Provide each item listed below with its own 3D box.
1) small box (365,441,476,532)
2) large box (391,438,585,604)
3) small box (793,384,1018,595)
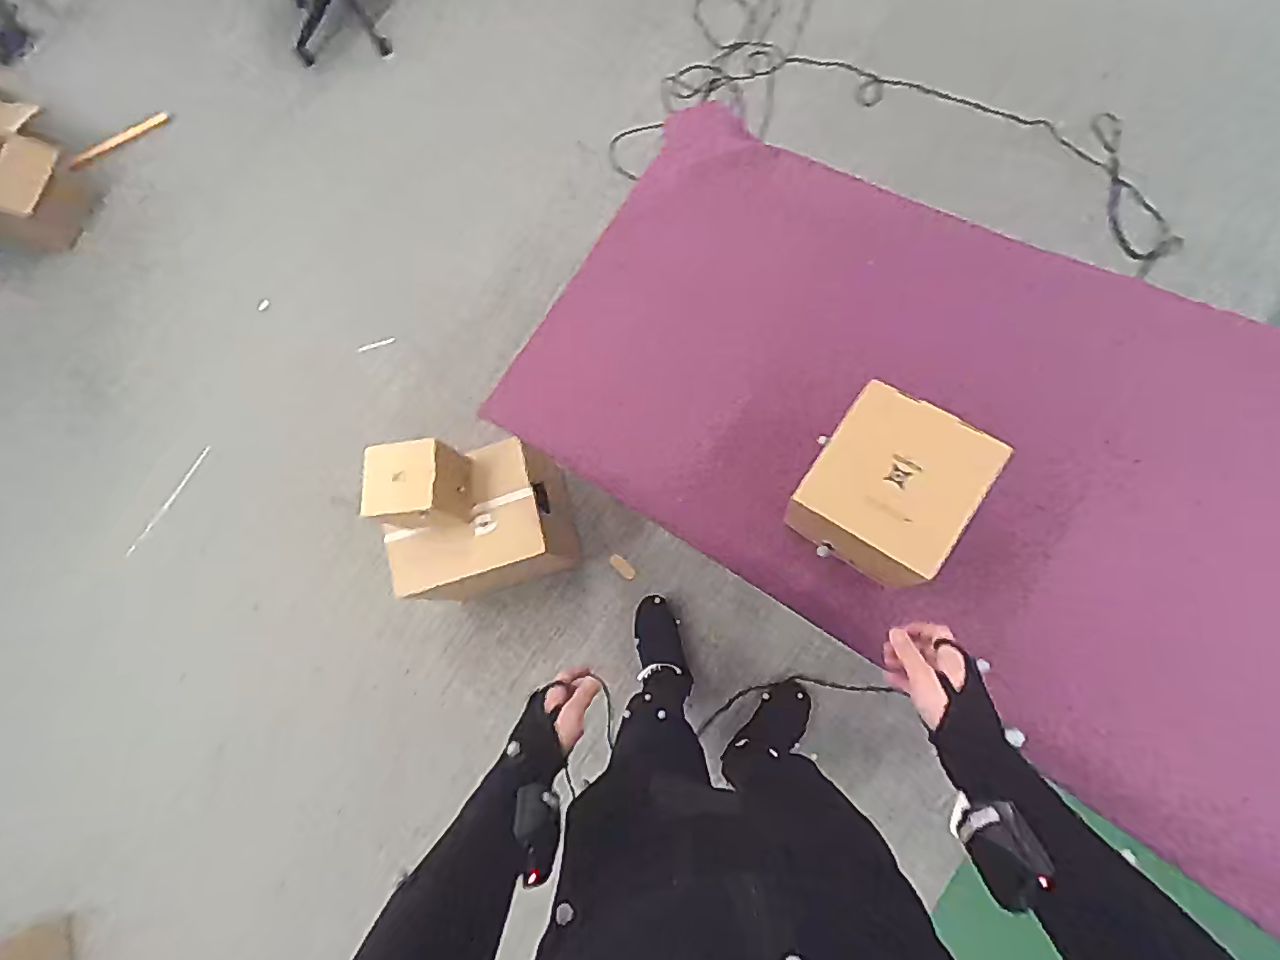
[{"bbox_3d":[-0.510,0.022,1.272,0.179,0.176,0.168,-7,73,10],"label":"small box"},{"bbox_3d":[-0.408,0.132,1.479,0.408,0.320,0.320,-18,74,6],"label":"large box"},{"bbox_3d":[0.301,0.021,0.659,0.168,0.176,0.179,34,84,19],"label":"small box"}]
